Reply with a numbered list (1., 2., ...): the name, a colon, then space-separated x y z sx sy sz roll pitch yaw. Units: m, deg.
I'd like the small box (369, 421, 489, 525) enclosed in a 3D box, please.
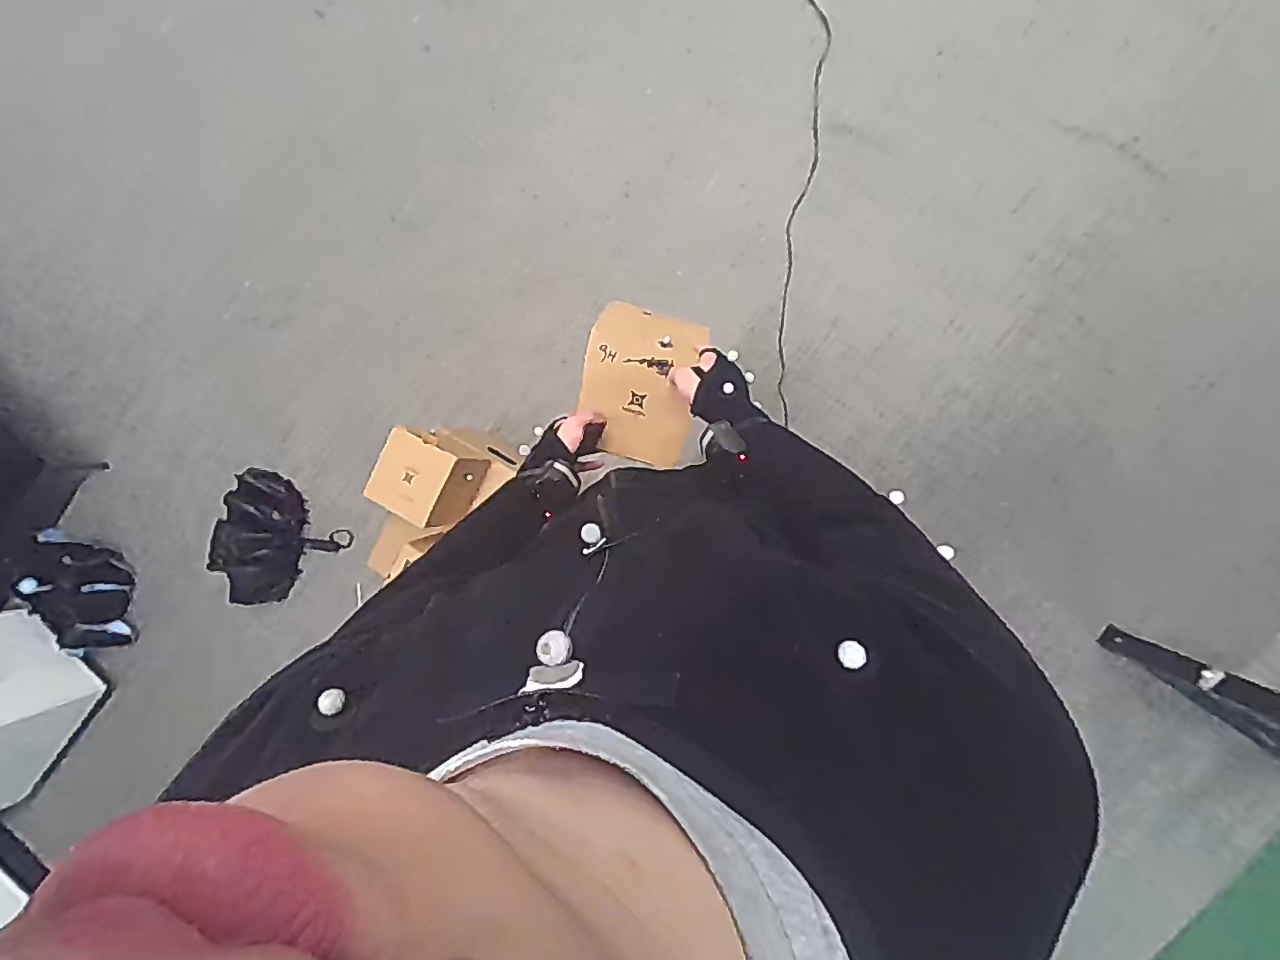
1. small box: -0.473 -0.018 1.244 0.168 0.176 0.179 27 96 10
